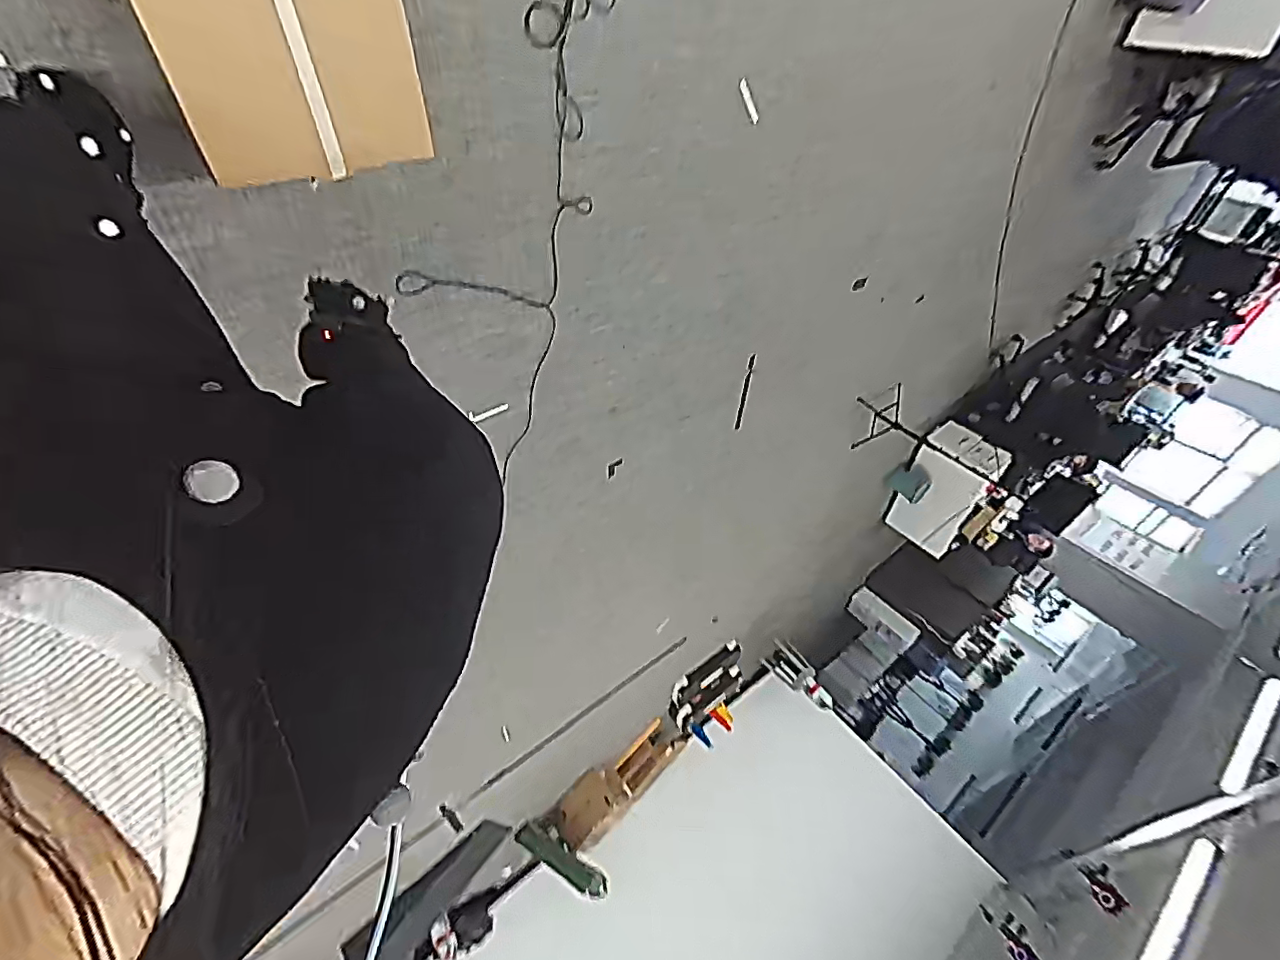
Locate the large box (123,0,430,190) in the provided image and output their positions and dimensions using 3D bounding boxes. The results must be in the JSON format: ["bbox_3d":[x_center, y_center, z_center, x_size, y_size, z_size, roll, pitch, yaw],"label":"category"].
[{"bbox_3d":[-0.560,-0.697,0.785,0.320,0.320,0.408,-28,140,-28],"label":"large box"}]
